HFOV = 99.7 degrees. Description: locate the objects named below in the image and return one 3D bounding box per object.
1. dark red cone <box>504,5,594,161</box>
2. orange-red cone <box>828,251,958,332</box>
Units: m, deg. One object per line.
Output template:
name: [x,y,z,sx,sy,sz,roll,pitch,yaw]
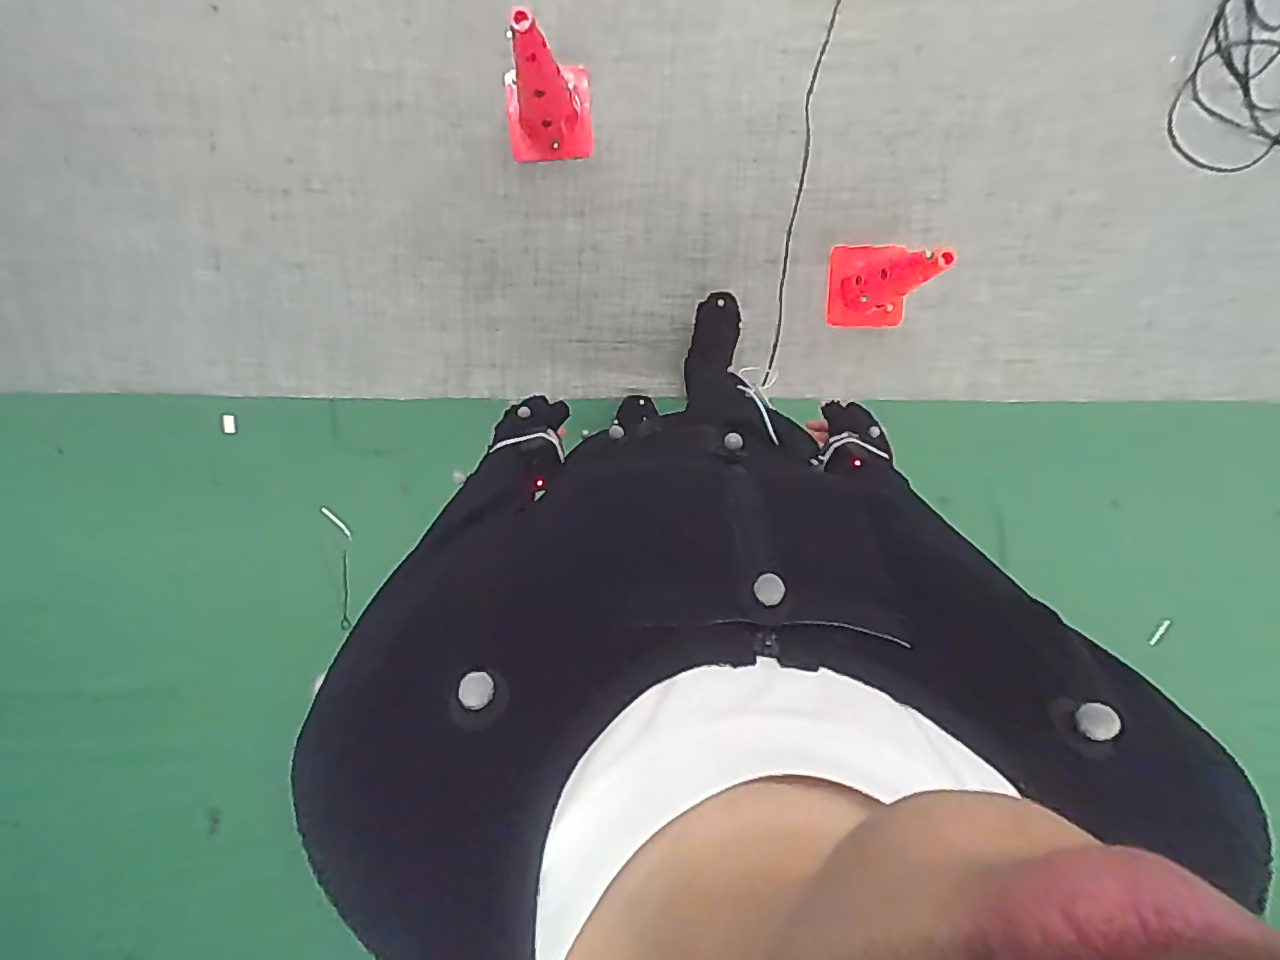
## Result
dark red cone: [-0.209,-0.834,1.114,0.202,0.394,0.201,-5,102,0]
orange-red cone: [0.593,-0.458,1.225,0.198,0.360,0.199,0,99,-2]
